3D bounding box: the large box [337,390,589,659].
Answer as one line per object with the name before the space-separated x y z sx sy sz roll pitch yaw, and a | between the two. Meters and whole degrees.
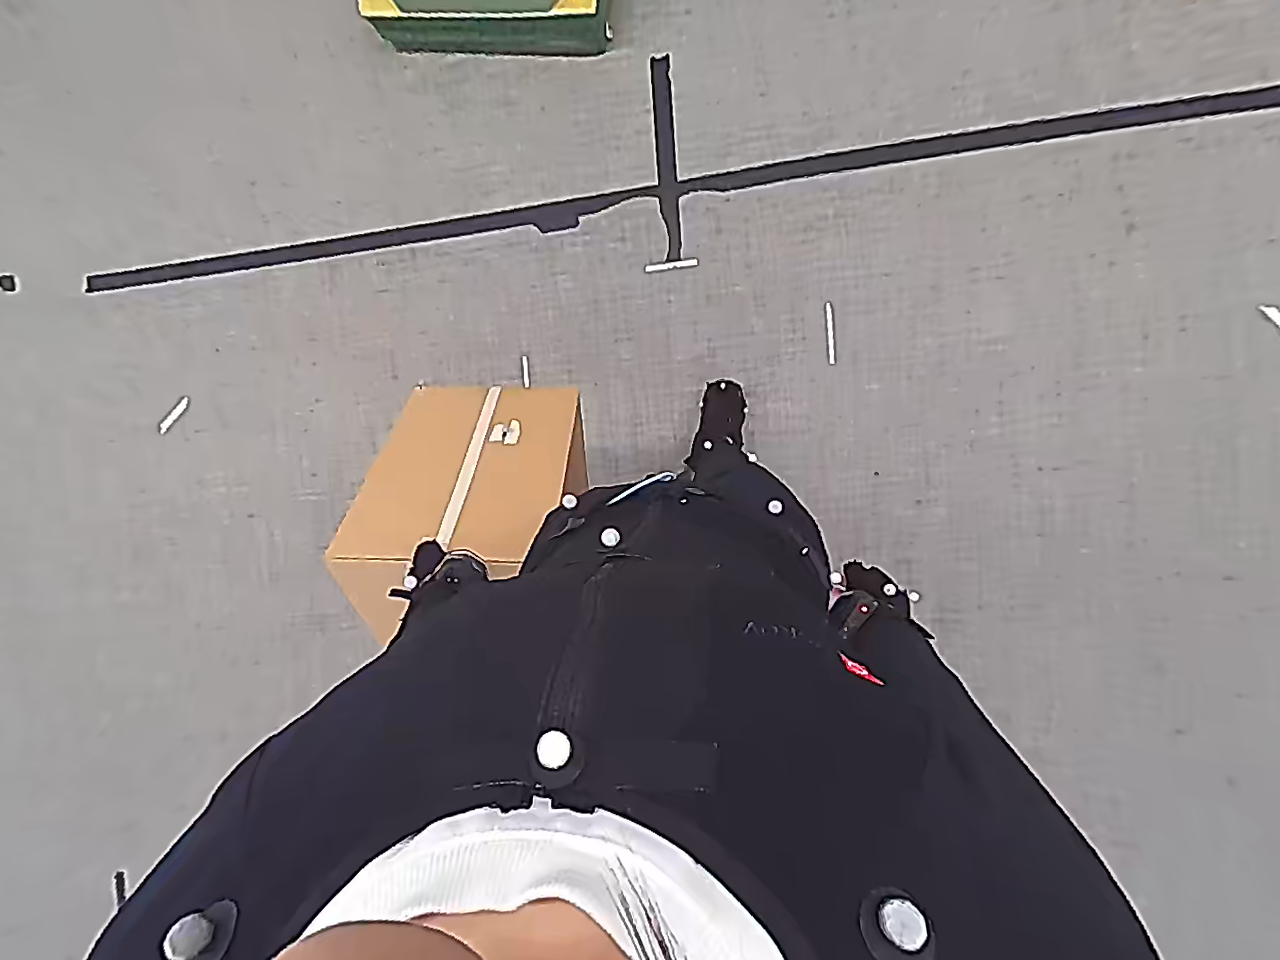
large box | -0.274 0.077 0.999 0.320 0.408 0.320 1 134 1
